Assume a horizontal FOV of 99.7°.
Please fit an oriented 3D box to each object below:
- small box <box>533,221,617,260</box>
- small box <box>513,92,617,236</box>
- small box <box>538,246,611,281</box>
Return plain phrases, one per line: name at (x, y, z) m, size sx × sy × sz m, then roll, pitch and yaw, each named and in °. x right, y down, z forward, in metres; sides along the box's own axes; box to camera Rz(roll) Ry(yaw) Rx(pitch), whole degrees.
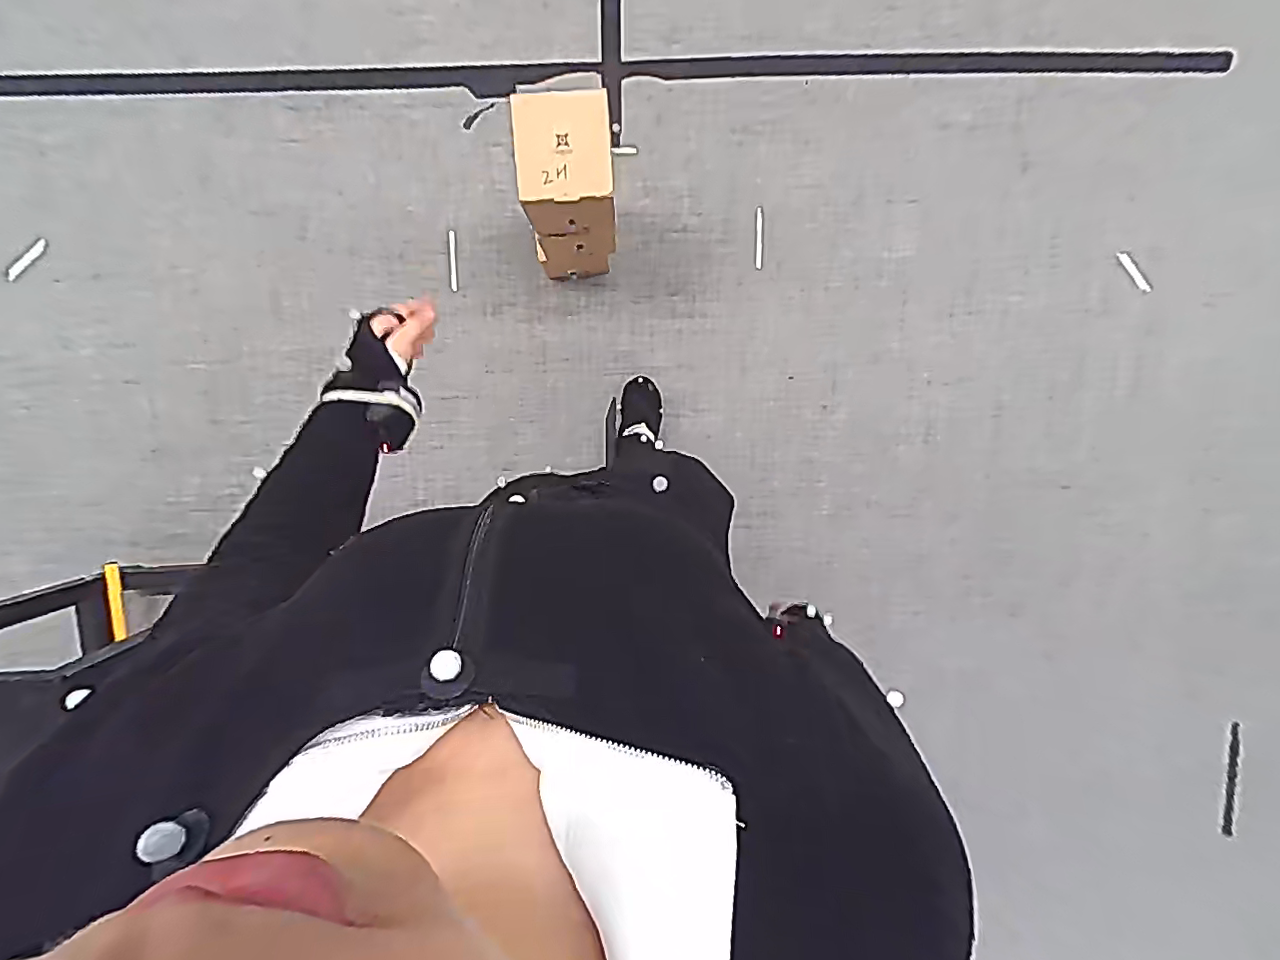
small box at (-0.142, -0.588, 1.165) m, size 0.168 × 0.176 × 0.179 m, roll -8°, pitch 97°, yaw 0°
small box at (-0.131, -0.574, 1.000) m, size 0.168 × 0.176 × 0.179 m, roll -3°, pitch 97°, yaw 1°
small box at (-0.163, -0.606, 1.327) m, size 0.168 × 0.176 × 0.179 m, roll -7°, pitch 98°, yaw 1°
